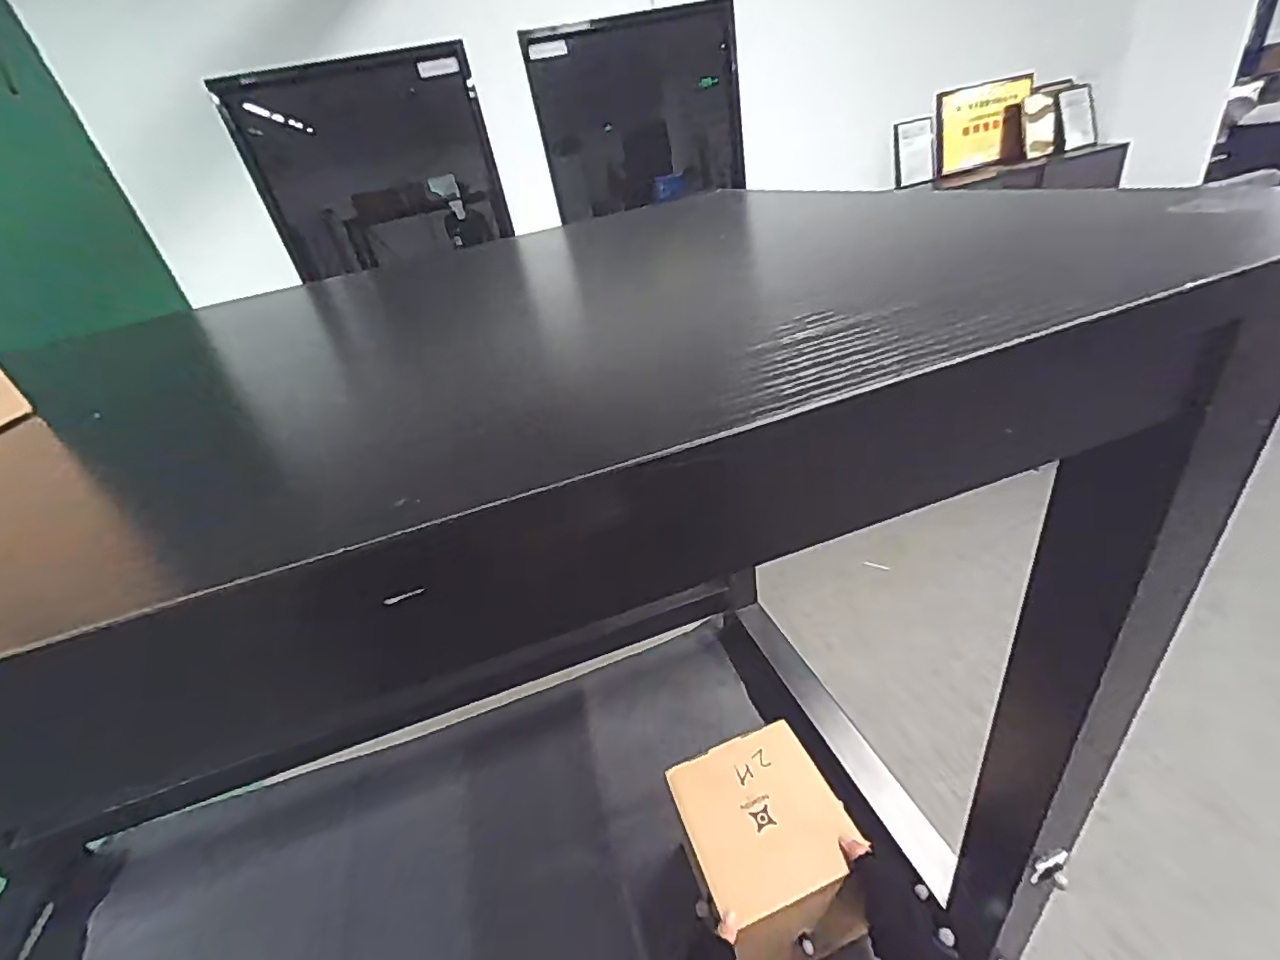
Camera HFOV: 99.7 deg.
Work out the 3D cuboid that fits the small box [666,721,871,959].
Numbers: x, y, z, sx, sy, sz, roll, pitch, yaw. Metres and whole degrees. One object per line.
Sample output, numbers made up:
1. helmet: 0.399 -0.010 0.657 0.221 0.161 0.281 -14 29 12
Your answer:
1. small box: 0.146 0.432 0.636 0.168 0.176 0.179 -18 30 -11
